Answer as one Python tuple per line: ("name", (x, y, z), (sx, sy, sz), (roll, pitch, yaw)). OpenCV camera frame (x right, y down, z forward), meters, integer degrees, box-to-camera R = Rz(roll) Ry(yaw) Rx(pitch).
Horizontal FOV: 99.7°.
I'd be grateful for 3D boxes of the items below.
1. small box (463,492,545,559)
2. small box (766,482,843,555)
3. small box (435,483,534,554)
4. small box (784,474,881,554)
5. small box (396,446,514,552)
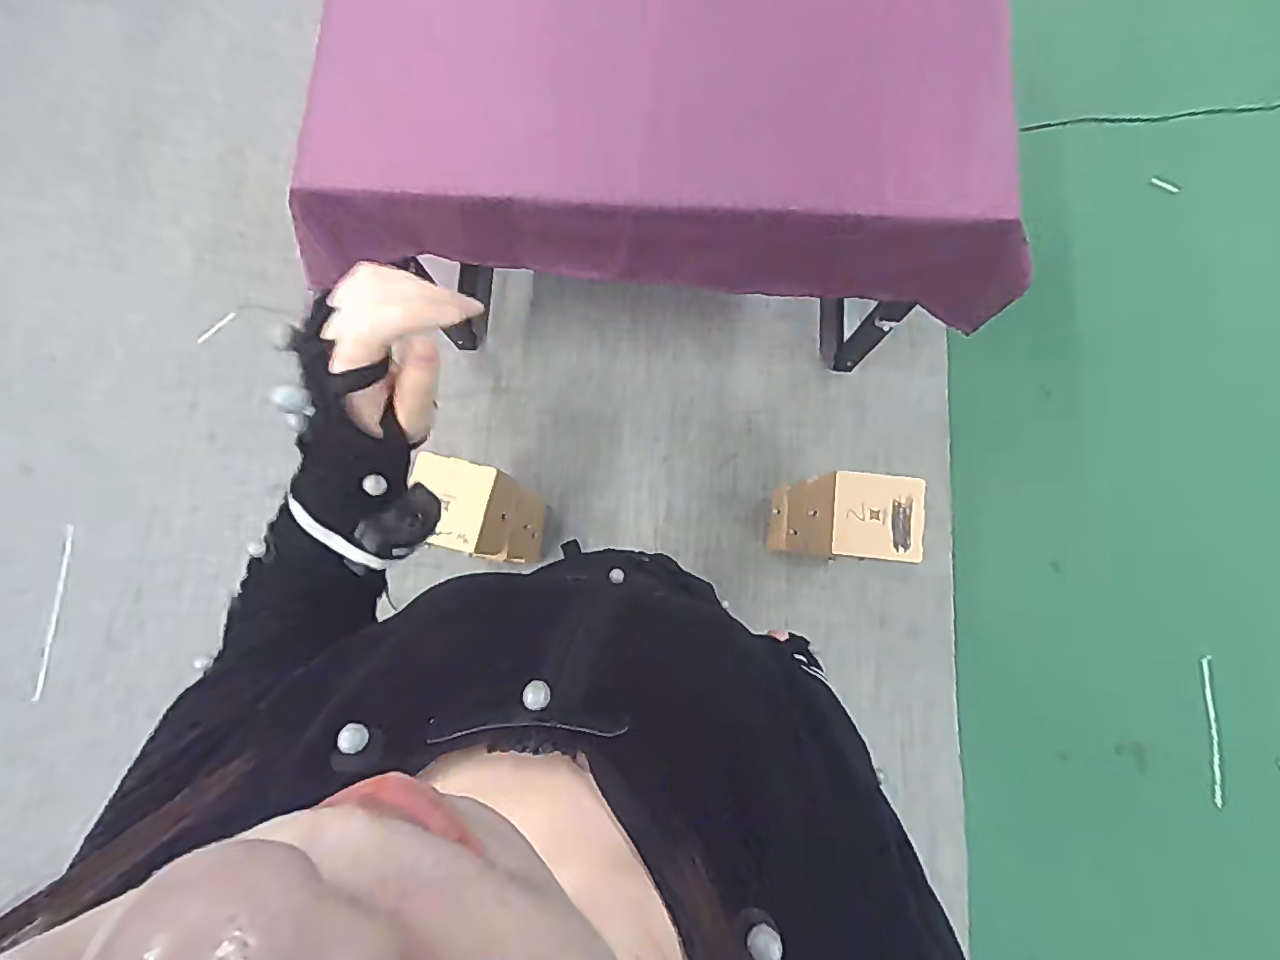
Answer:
("small box", (-0.360, 0.119, 1.465), (0.168, 0.176, 0.179), (7, 81, 2))
("small box", (0.446, 0.109, 1.454), (0.179, 0.176, 0.168), (8, 81, 1))
("small box", (-0.369, 0.086, 1.304), (0.179, 0.176, 0.168), (10, 82, 2))
("small box", (0.453, 0.086, 1.293), (0.179, 0.176, 0.168), (5, 83, 1))
("small box", (-0.379, 0.047, 1.143), (0.168, 0.176, 0.179), (14, 81, 3))
